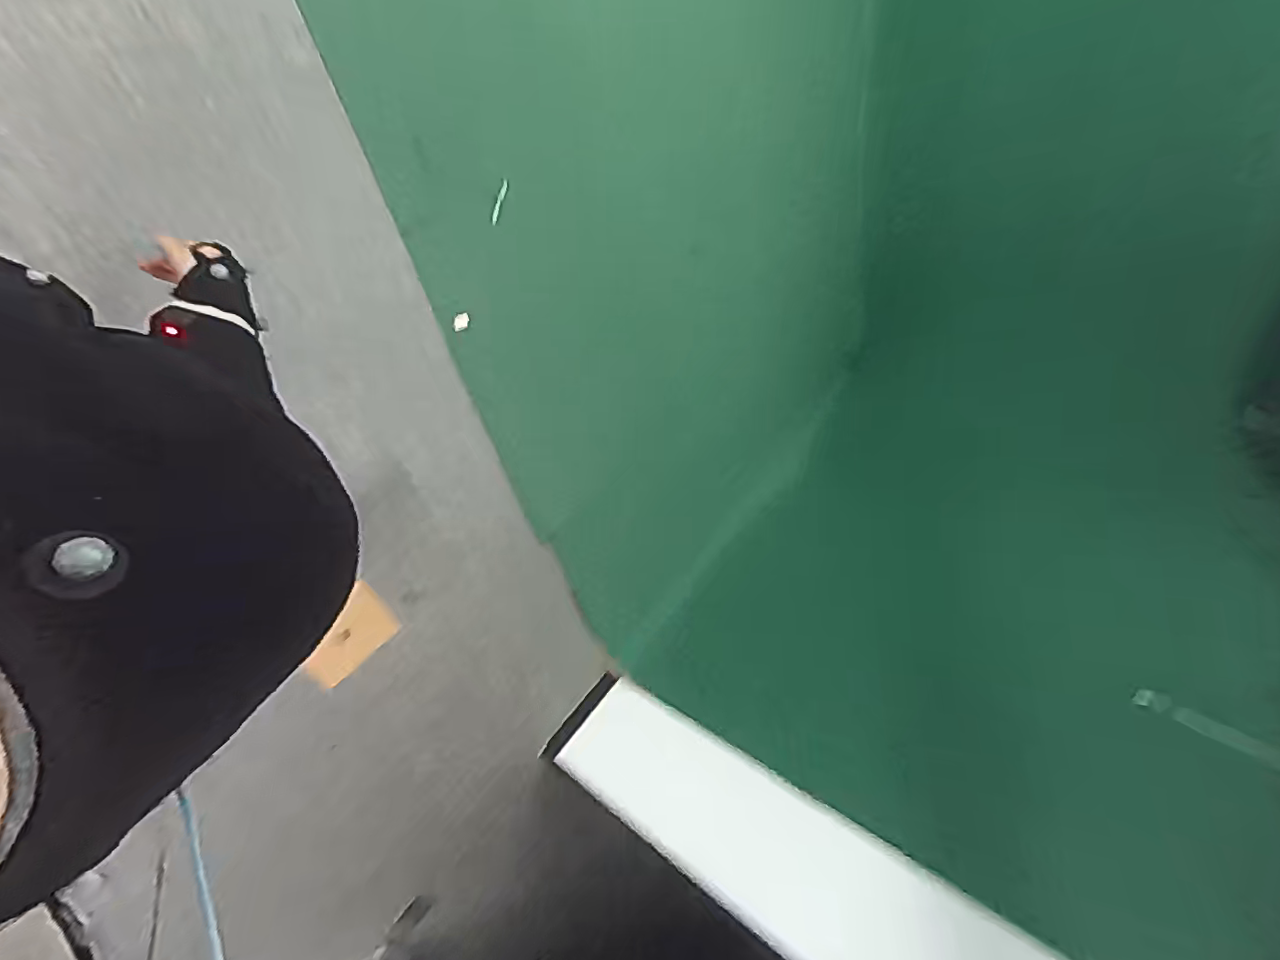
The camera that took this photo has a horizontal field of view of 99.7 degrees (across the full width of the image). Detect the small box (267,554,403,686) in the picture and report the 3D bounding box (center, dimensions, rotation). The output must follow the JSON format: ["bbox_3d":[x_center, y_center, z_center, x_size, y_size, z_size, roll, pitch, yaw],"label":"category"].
[{"bbox_3d":[-0.651,0.289,1.146,0.179,0.176,0.168,-44,135,-32],"label":"small box"}]
